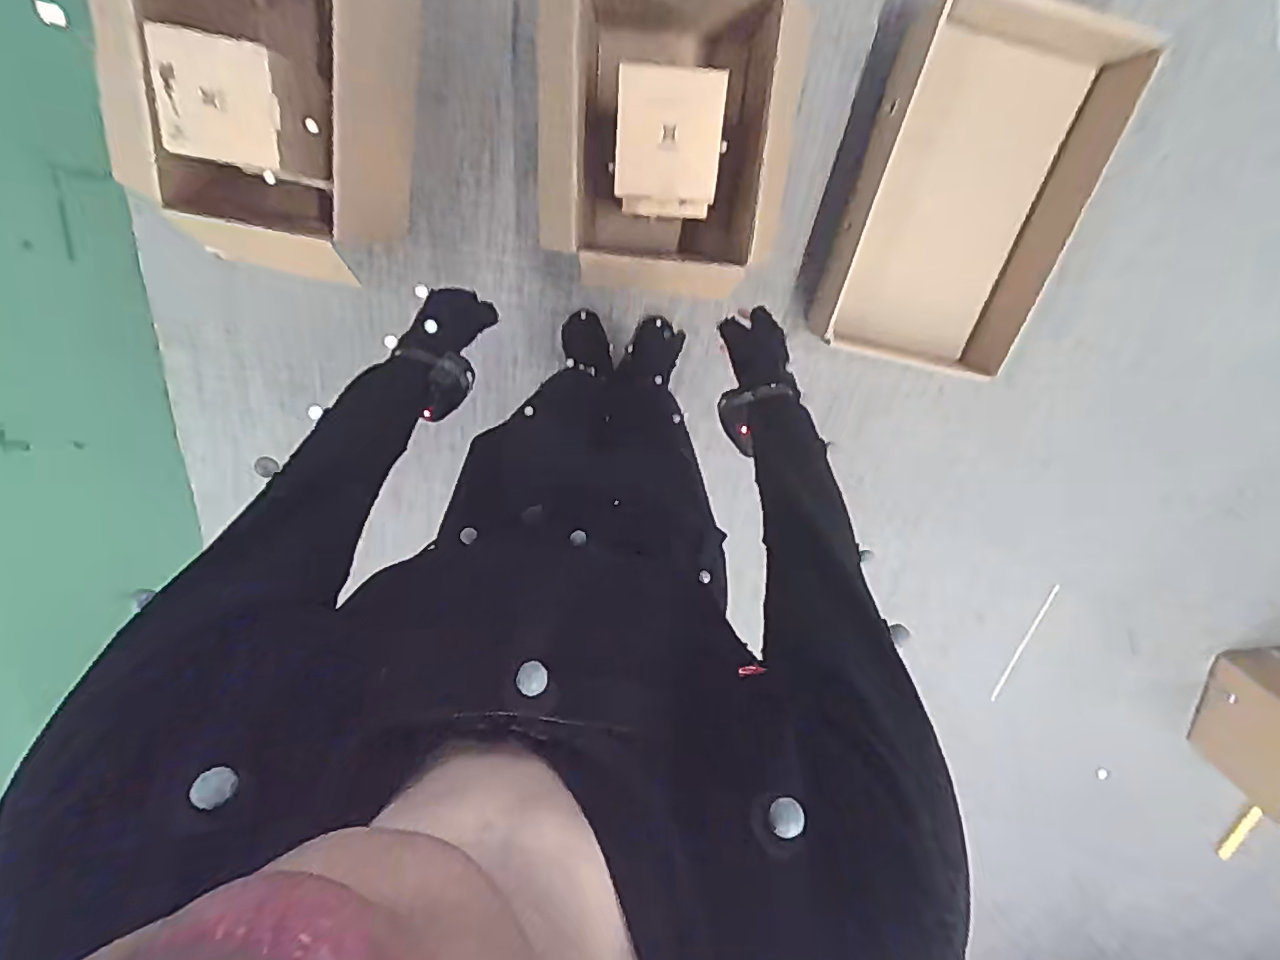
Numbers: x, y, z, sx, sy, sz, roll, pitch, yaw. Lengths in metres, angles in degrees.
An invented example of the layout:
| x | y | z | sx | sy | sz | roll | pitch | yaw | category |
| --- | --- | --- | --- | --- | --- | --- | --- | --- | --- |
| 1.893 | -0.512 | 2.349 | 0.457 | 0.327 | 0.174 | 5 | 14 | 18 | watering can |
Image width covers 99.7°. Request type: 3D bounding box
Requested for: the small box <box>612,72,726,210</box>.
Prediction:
| x | y | z | sx | sy | sz | roll | pitch | yaw | category |
| --- | --- | --- | --- | --- | --- | --- | --- | --- | --- |
| 0.043 | -0.562 | 0.917 | 0.168 | 0.176 | 0.179 | 3 | 116 | -2 | small box |
